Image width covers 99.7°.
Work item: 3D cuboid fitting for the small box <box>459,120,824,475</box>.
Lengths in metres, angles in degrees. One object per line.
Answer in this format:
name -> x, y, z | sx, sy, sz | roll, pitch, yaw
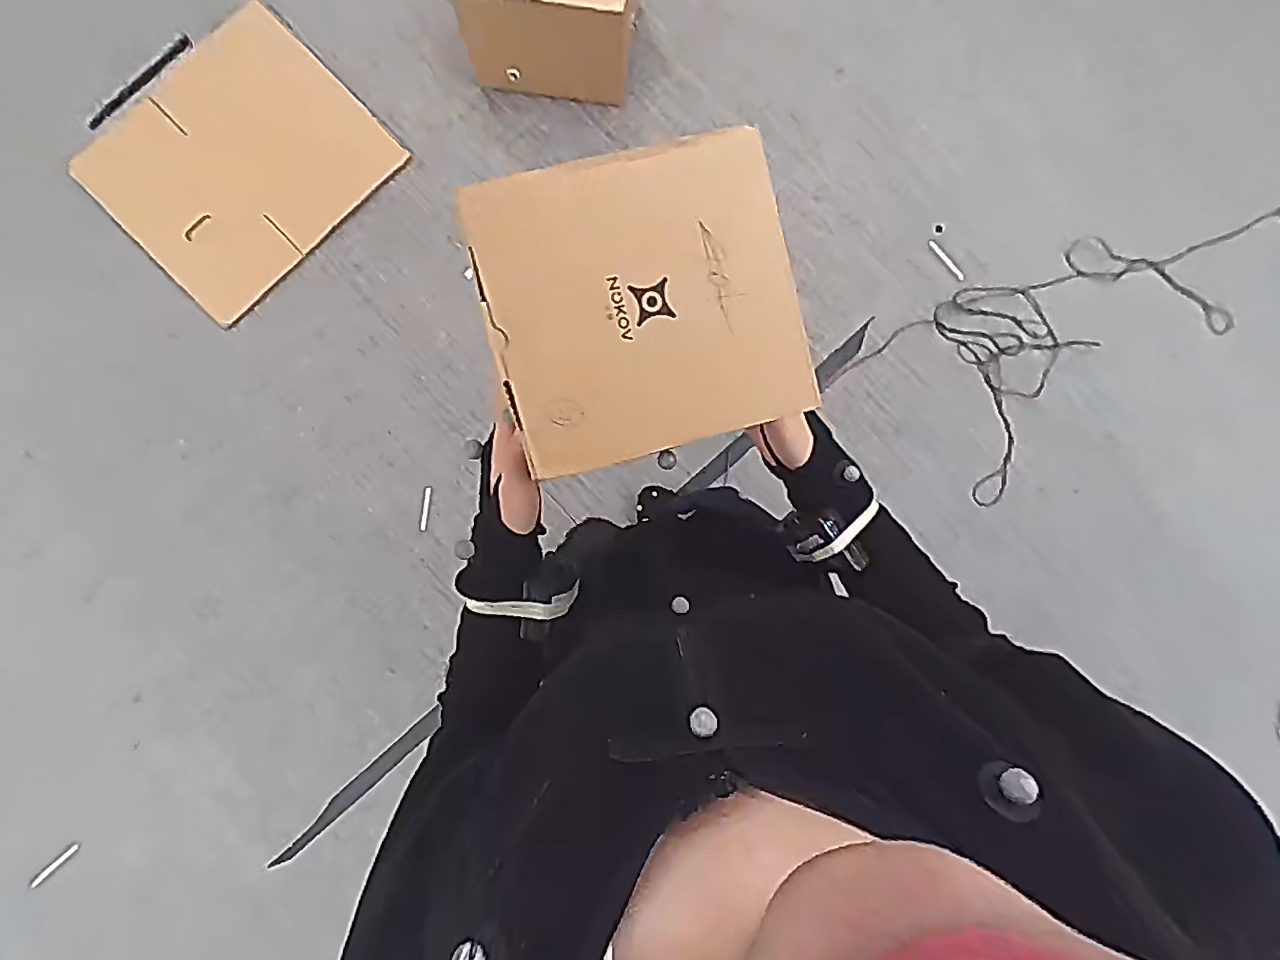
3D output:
small box -> -0.003, -0.106, 0.382 | 0.179, 0.176, 0.168 | -16, 96, -5
